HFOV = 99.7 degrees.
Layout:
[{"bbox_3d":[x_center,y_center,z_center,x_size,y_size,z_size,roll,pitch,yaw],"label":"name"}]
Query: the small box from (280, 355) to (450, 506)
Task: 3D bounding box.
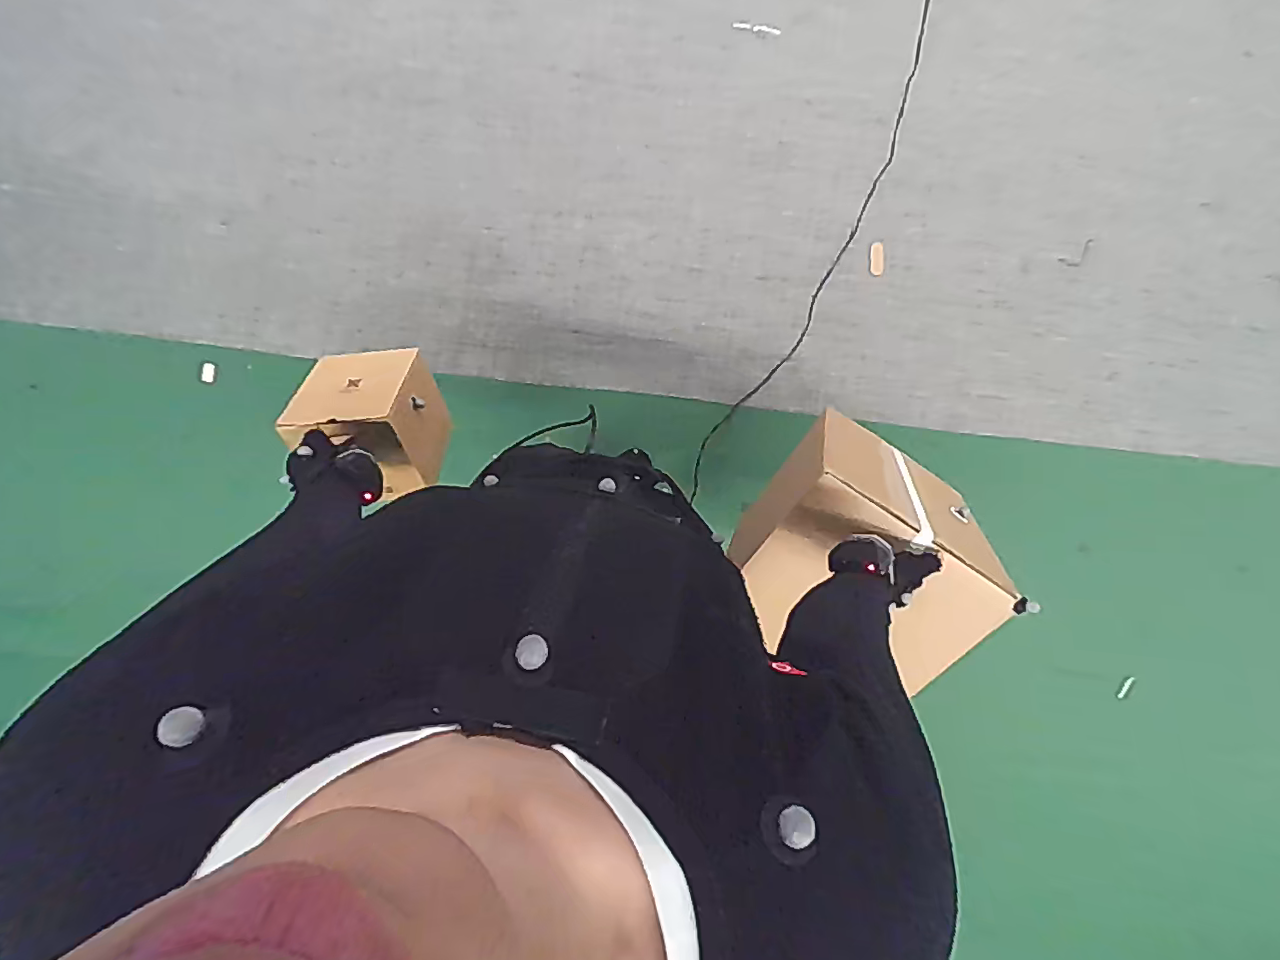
[{"bbox_3d":[-0.424,-0.078,0.875,0.168,0.179,0.176,-5,137,3],"label":"small box"}]
